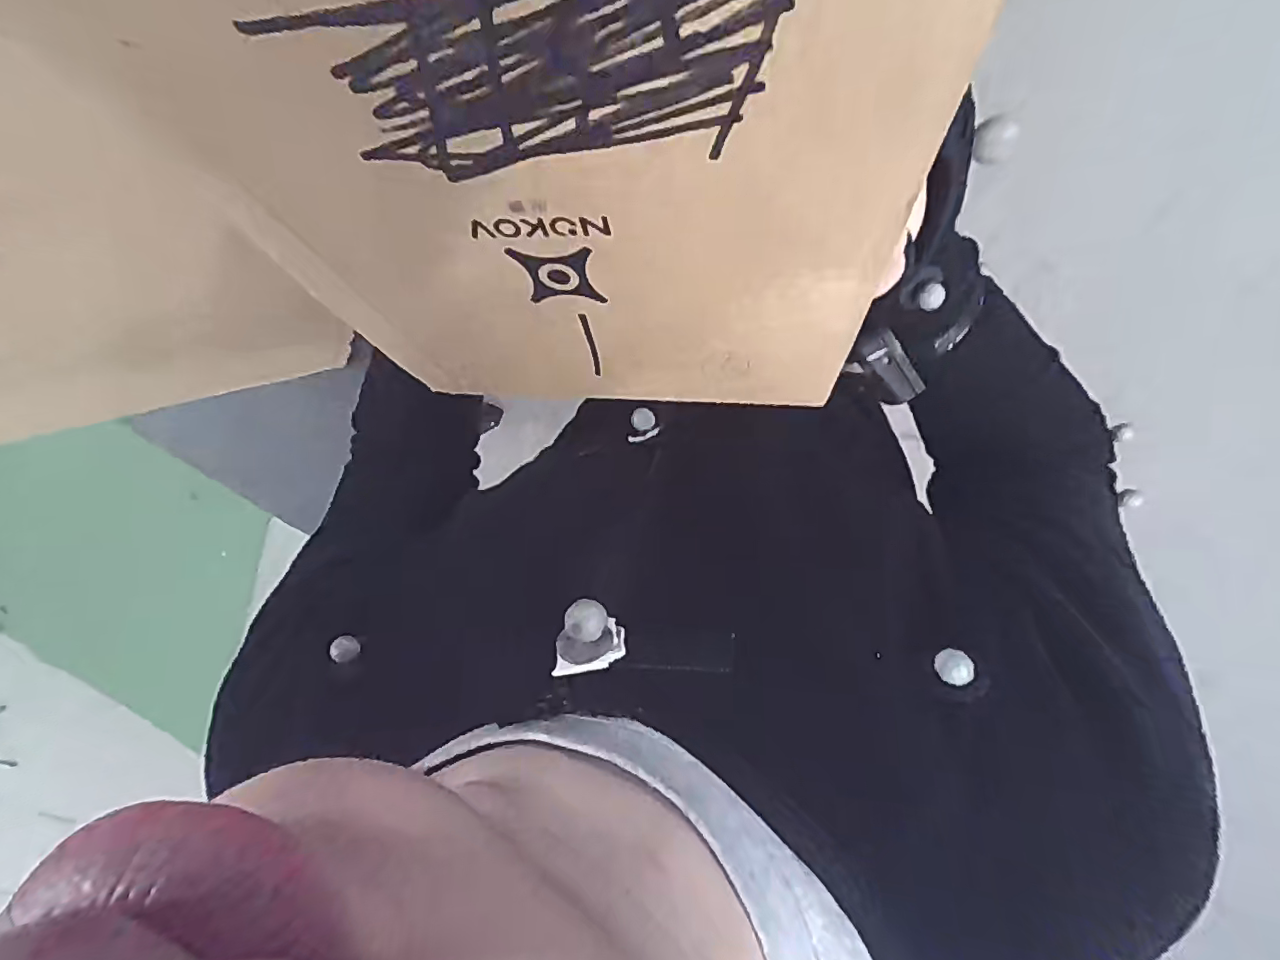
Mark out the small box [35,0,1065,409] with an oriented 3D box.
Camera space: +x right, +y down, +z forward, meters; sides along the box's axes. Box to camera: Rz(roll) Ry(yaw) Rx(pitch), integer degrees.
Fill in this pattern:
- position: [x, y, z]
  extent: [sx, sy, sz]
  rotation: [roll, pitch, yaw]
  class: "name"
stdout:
- position: [-0.005, -0.135, 0.162]
  extent: [0.168, 0.179, 0.176]
  rotation: [4, 74, 10]
  class: "small box"
